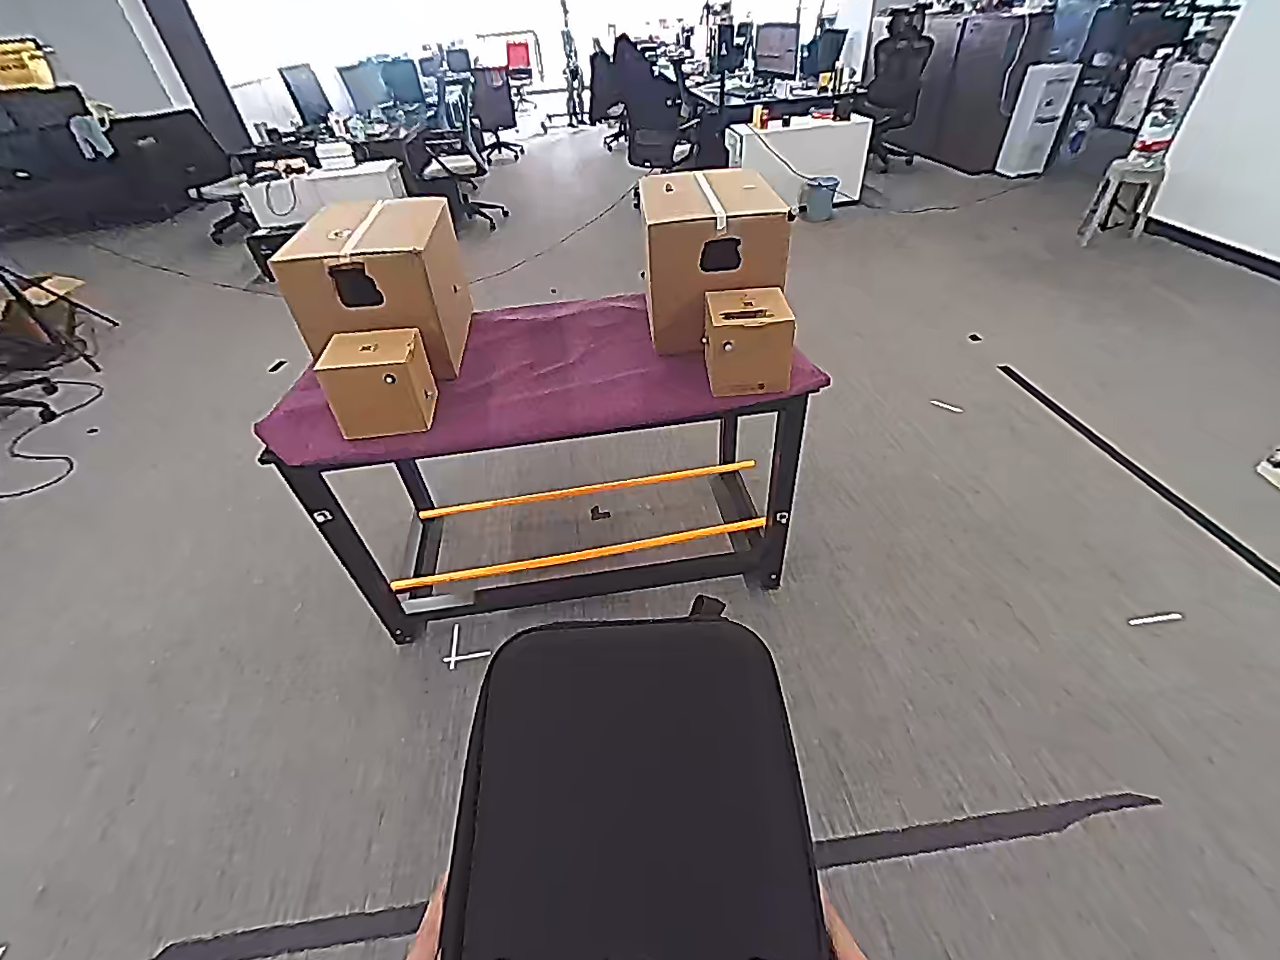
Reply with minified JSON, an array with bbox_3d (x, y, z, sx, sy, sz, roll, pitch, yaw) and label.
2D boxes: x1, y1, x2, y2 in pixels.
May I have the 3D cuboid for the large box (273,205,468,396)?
[{"bbox_3d":[-0.633,-0.462,1.365,0.320,0.320,0.408,-7,44,-4],"label":"large box"}]
